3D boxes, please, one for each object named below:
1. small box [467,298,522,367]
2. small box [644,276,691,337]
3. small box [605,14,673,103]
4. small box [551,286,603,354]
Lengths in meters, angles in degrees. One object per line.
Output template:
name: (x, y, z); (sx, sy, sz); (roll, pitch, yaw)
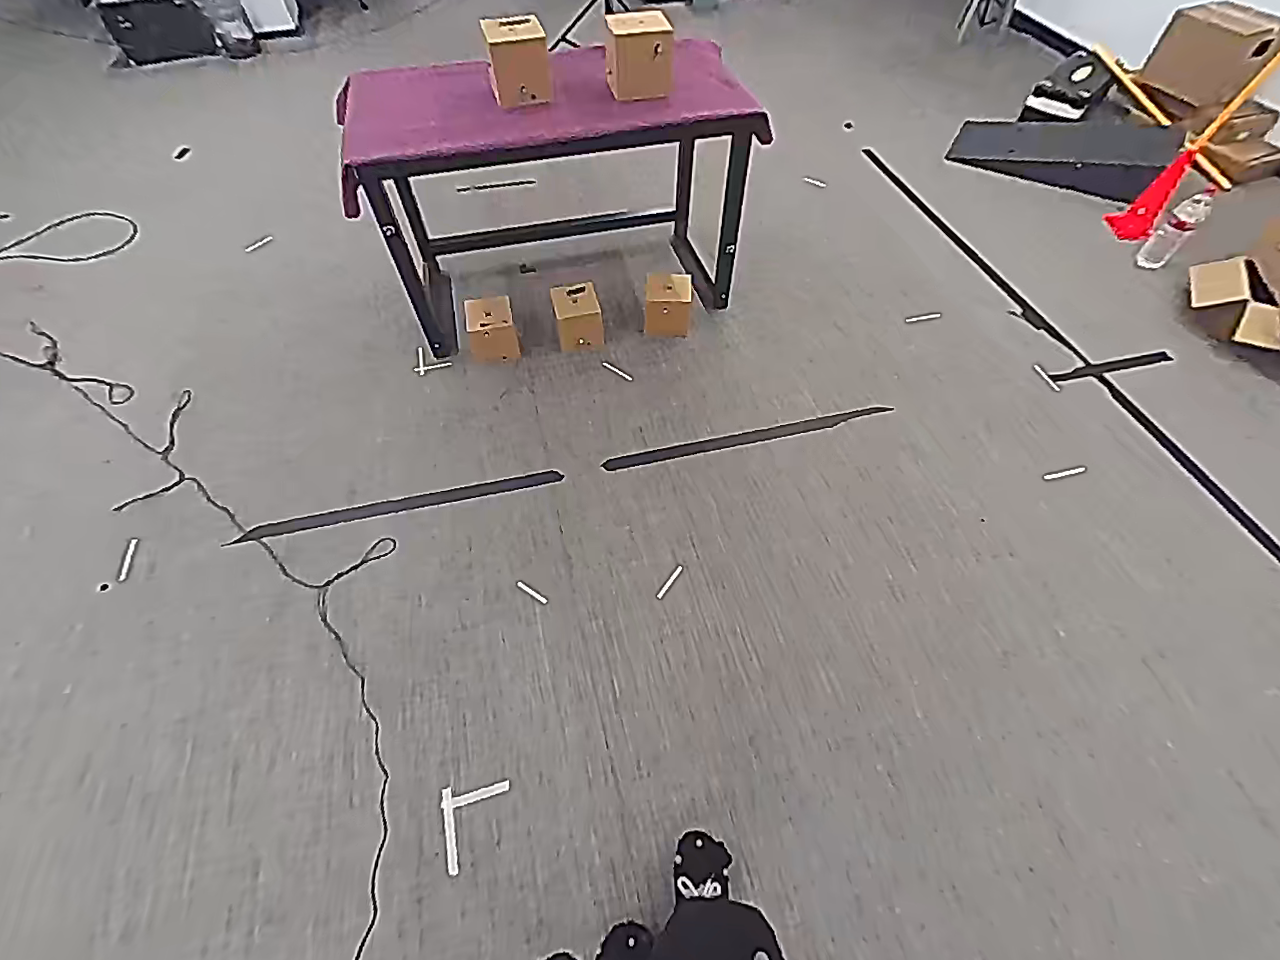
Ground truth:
small box: (-0.550, -0.555, 2.041); (0.168, 0.176, 0.179); (-11, 56, -7)
small box: (0.109, -0.676, 2.118); (0.179, 0.176, 0.168); (1, 57, 3)
small box: (-0.005, -1.277, 1.642); (0.179, 0.176, 0.168); (-11, 56, -6)
small box: (-0.241, -0.615, 2.077); (0.168, 0.176, 0.179); (-13, 58, -8)
